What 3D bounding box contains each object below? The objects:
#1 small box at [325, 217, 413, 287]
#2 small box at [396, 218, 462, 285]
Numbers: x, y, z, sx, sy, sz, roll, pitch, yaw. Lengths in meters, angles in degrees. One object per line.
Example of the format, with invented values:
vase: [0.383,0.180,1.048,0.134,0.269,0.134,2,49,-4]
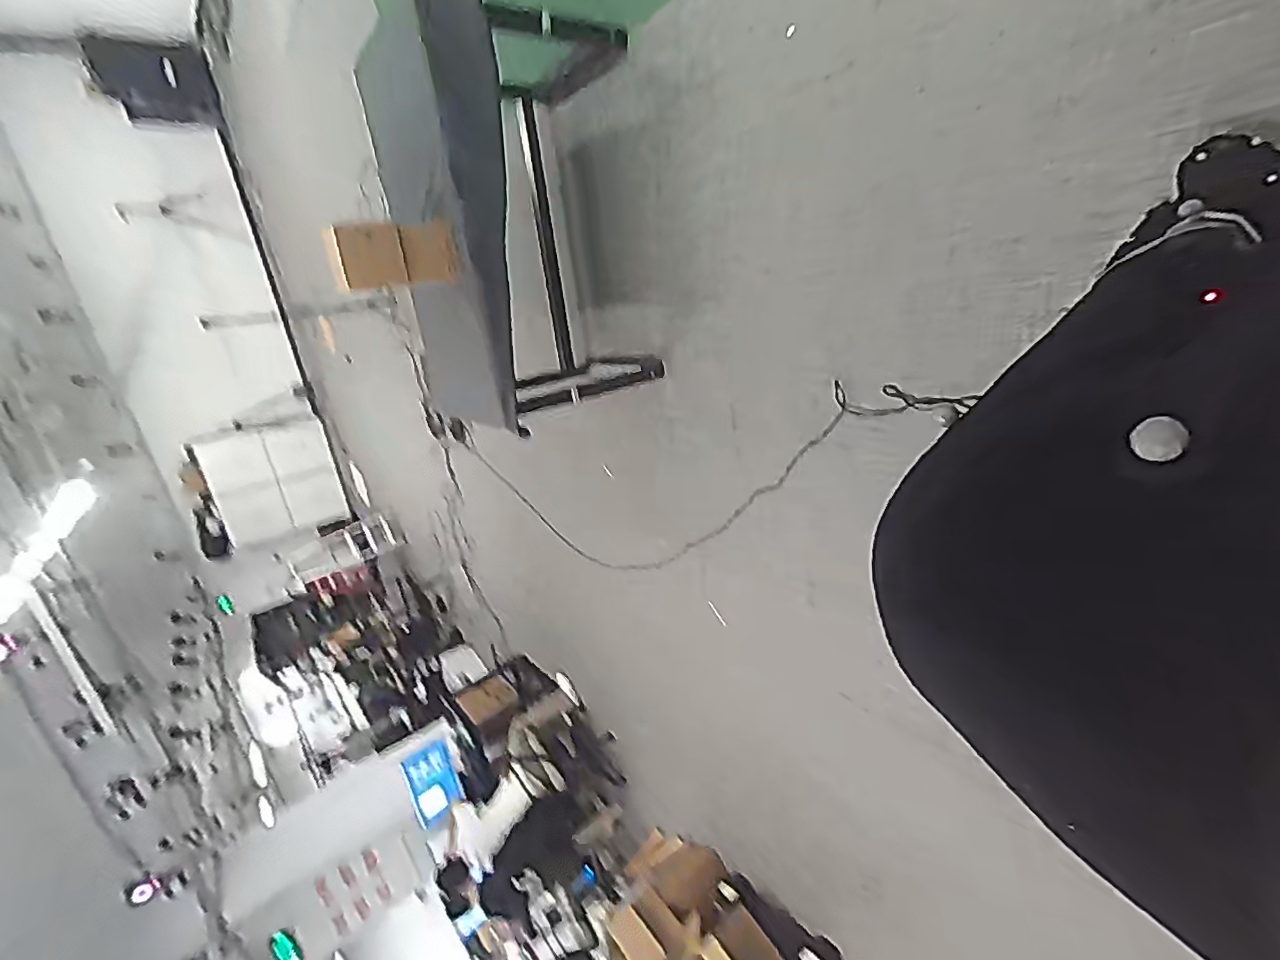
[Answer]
small box: [-0.784,-0.661,1.569,0.168,0.176,0.179,21,125,49]
small box: [-0.668,-0.707,1.674,0.179,0.176,0.168,13,118,49]
